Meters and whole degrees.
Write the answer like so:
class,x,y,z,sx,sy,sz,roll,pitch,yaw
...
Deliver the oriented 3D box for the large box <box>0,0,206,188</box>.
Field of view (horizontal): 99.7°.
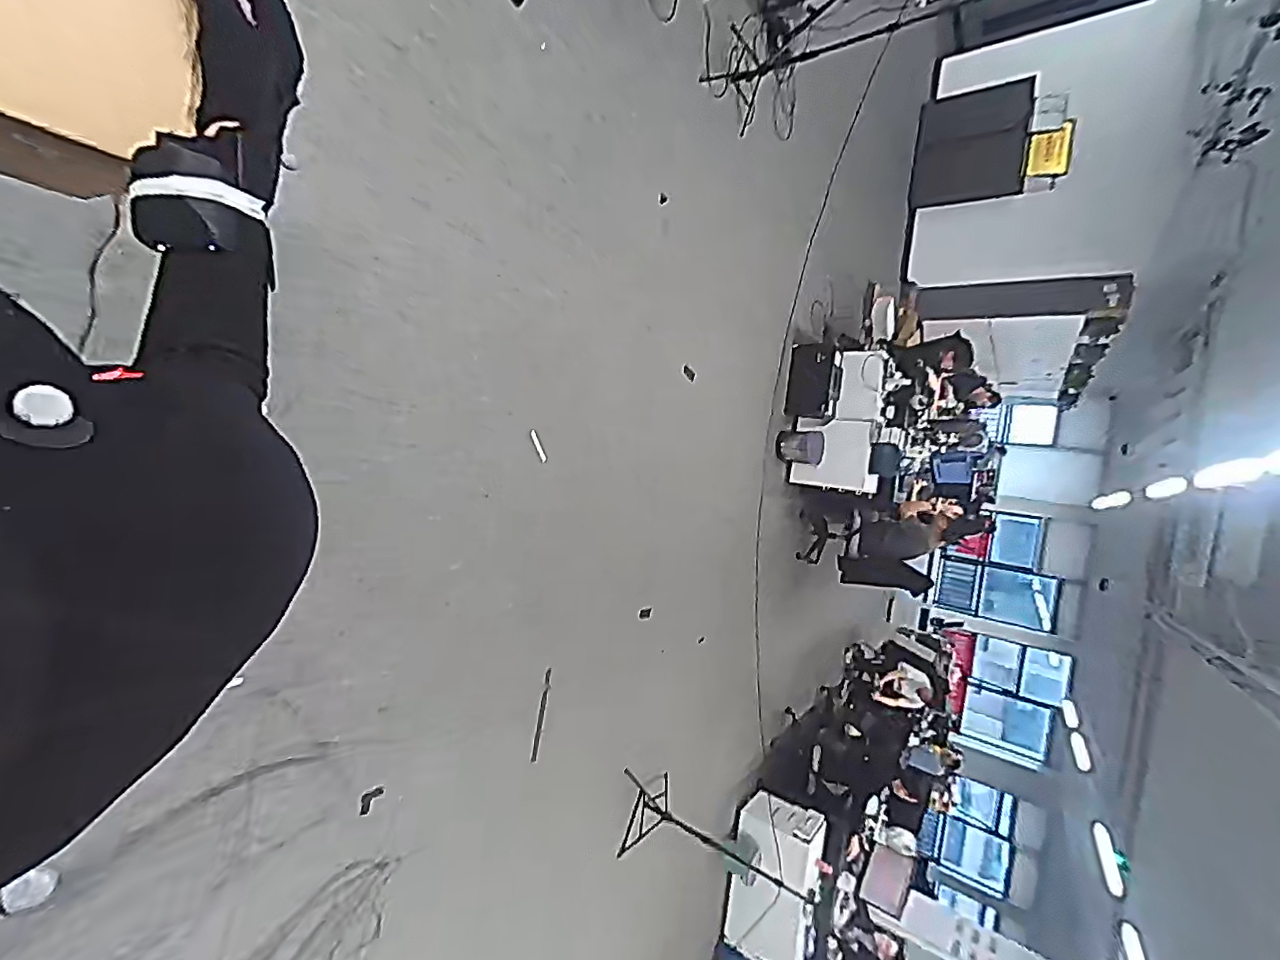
class,x,y,z,sx,sy,sz,roll,pitch,yaw
large box,-0.548,-0.415,0.309,0.408,0.320,0.320,0,105,-58
